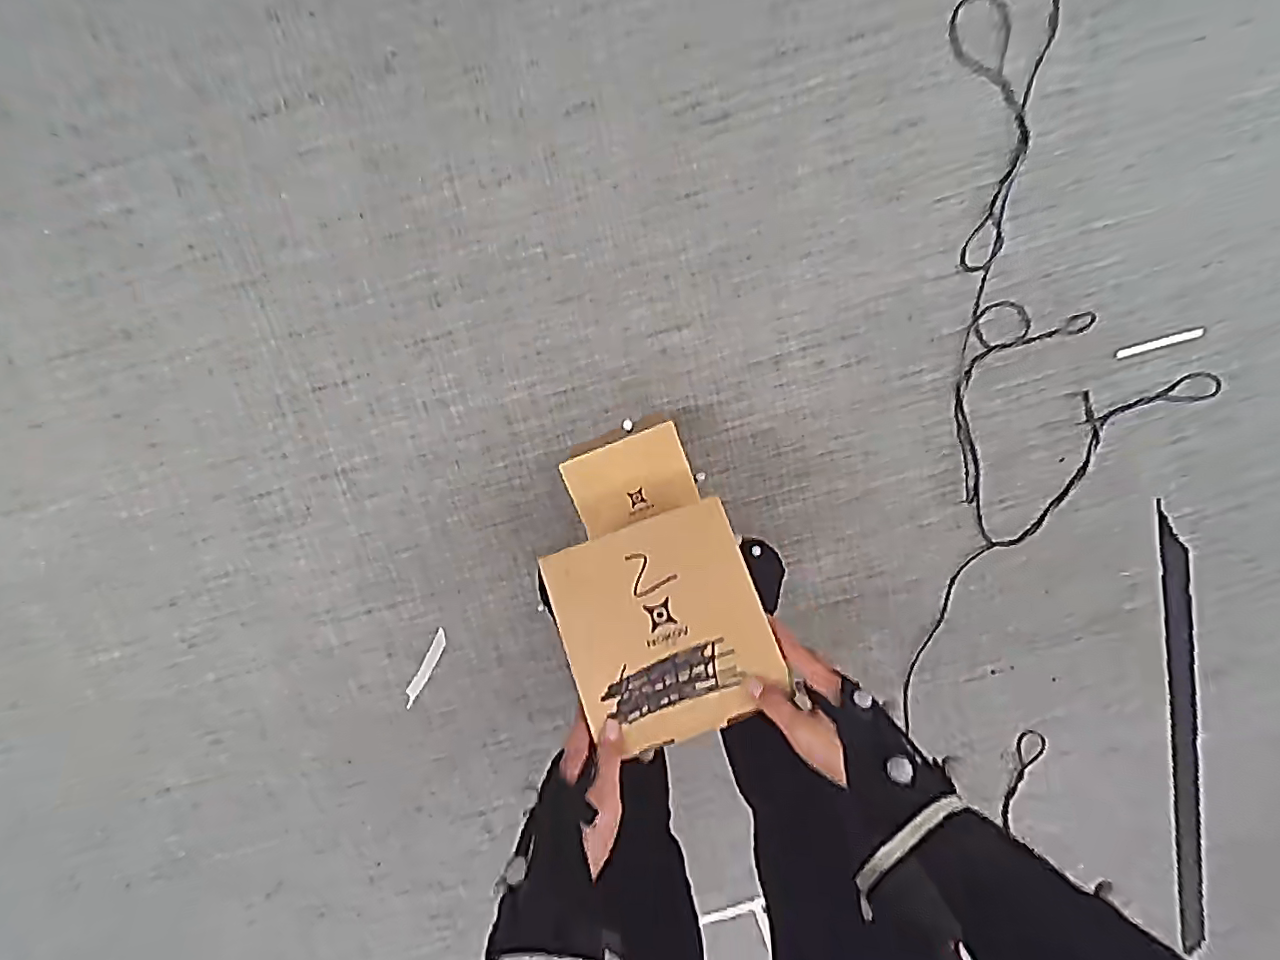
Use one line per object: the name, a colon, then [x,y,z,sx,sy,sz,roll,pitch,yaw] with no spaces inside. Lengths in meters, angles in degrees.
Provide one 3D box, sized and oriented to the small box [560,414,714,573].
small box: [-0.006,0.008,0.810,0.168,0.176,0.179,-22,102,3]
